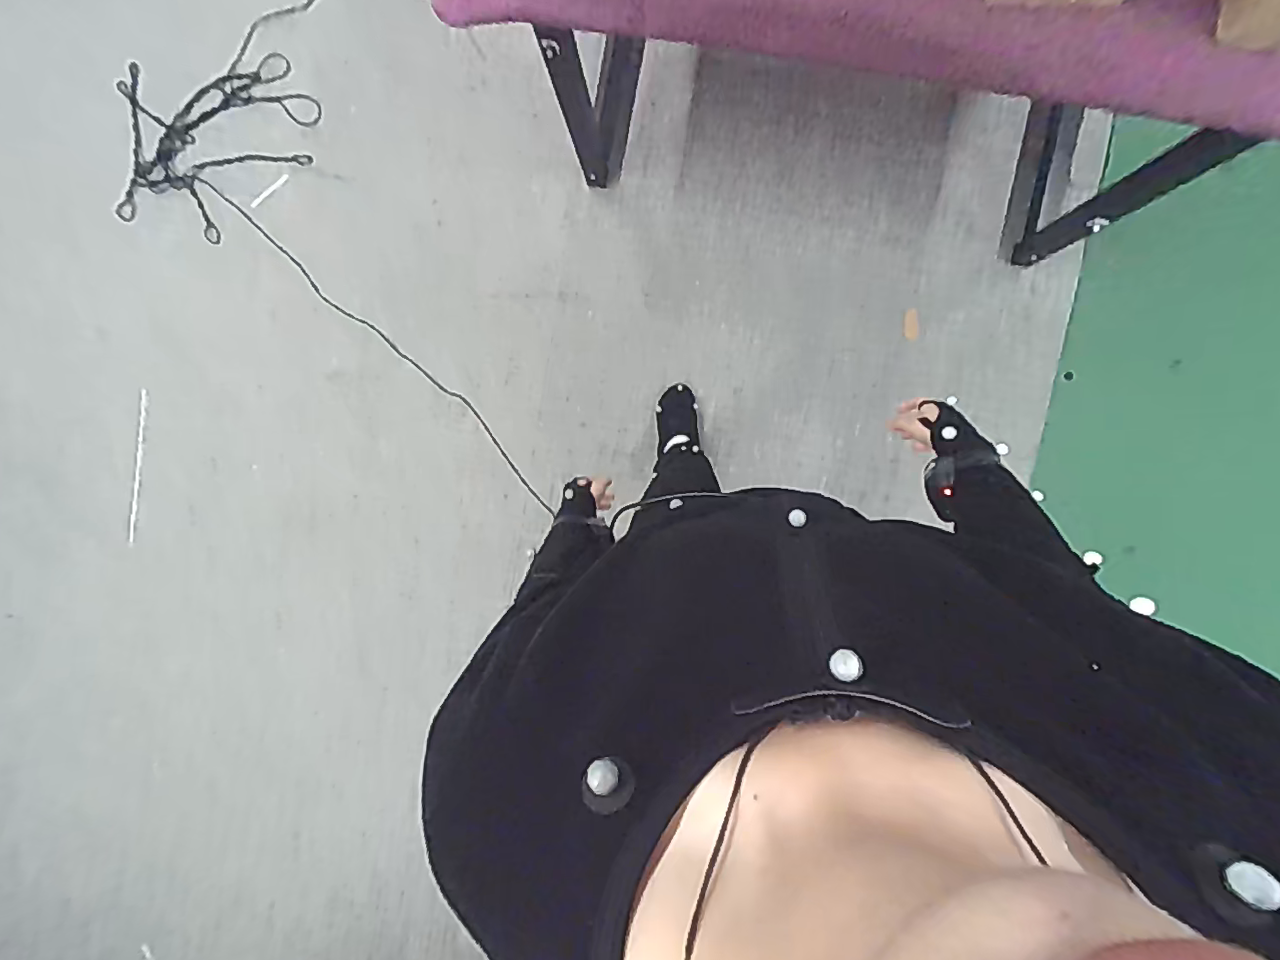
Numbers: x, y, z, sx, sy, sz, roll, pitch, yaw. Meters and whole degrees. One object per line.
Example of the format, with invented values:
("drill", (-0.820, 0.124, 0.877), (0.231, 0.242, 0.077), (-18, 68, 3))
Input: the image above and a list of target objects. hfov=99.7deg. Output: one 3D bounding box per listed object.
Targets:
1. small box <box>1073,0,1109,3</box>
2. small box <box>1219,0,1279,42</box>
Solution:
("small box", (0.530, -0.699, 0.609), (0.168, 0.176, 0.179), (5, 92, 5))
("small box", (0.816, -0.617, 0.587), (0.179, 0.176, 0.168), (8, 93, 5))
